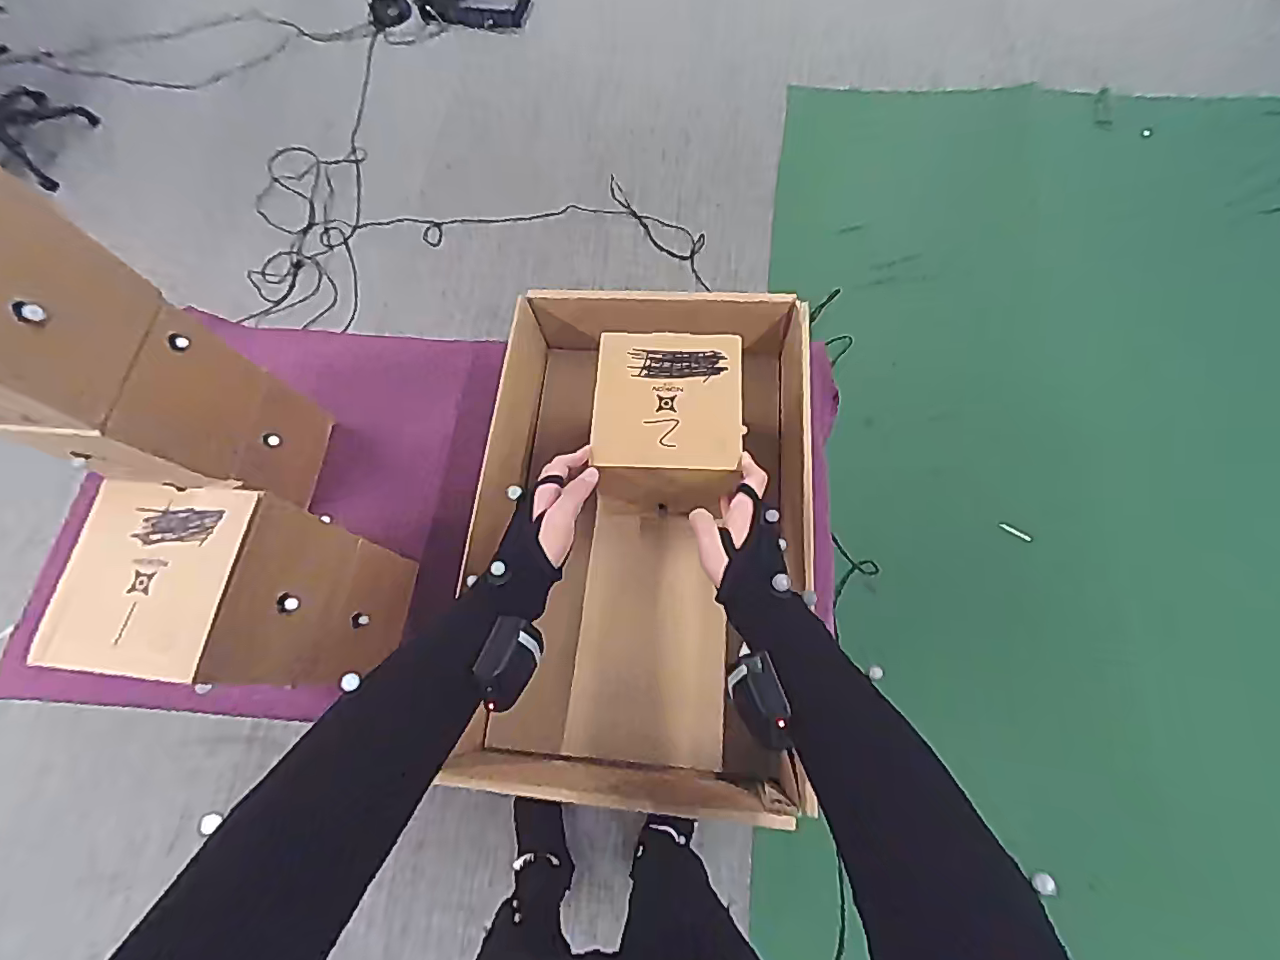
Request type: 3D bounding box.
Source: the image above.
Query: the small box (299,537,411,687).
[{"bbox_3d":[-0.433,0.174,0.721,0.168,0.176,0.179,5,70,5],"label":"small box"}]

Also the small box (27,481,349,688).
[{"bbox_3d":[-0.442,0.117,0.568,0.168,0.176,0.179,5,70,6],"label":"small box"}]

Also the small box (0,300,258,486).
[{"bbox_3d":[-0.623,-0.101,0.667,0.168,0.176,0.179,4,70,5],"label":"small box"}]

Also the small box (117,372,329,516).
[{"bbox_3d":[-0.611,-0.049,0.820,0.168,0.176,0.179,4,70,5],"label":"small box"}]

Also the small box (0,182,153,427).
[{"bbox_3d":[-0.631,-0.162,0.515,0.168,0.176,0.179,3,71,4],"label":"small box"}]
